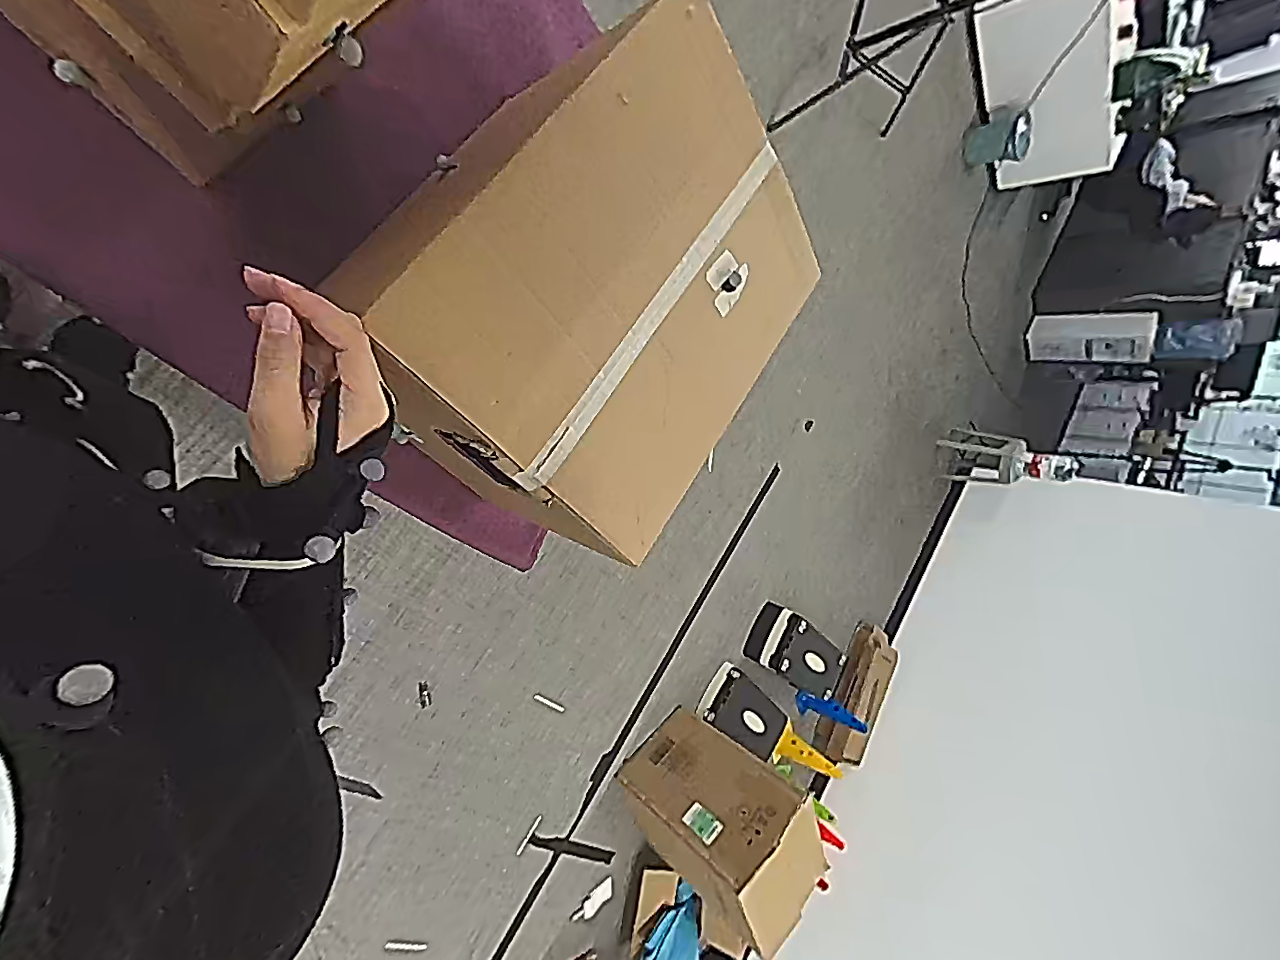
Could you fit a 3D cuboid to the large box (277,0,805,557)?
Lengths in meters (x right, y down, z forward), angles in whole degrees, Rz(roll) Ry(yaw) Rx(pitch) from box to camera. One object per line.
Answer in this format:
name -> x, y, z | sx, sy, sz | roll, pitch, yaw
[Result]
large box -> -0.090, -0.192, 0.582 | 0.408, 0.320, 0.320 | -57, 132, -17
